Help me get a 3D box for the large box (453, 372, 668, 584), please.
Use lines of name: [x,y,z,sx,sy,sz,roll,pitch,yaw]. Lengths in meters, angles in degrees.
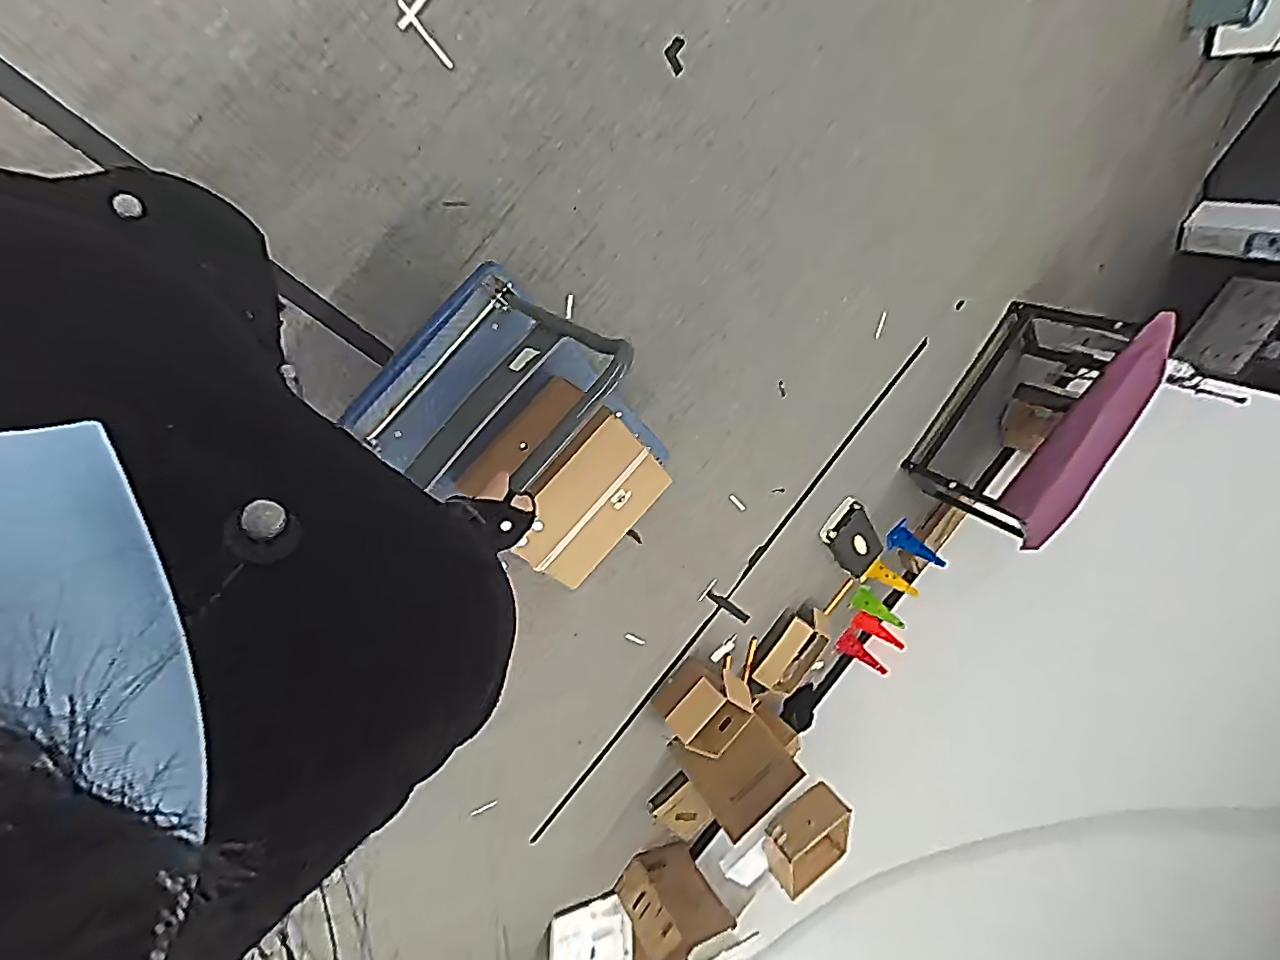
large box: [-0.212,-0.010,1.434,0.408,0.320,0.320,-49,136,-5]
